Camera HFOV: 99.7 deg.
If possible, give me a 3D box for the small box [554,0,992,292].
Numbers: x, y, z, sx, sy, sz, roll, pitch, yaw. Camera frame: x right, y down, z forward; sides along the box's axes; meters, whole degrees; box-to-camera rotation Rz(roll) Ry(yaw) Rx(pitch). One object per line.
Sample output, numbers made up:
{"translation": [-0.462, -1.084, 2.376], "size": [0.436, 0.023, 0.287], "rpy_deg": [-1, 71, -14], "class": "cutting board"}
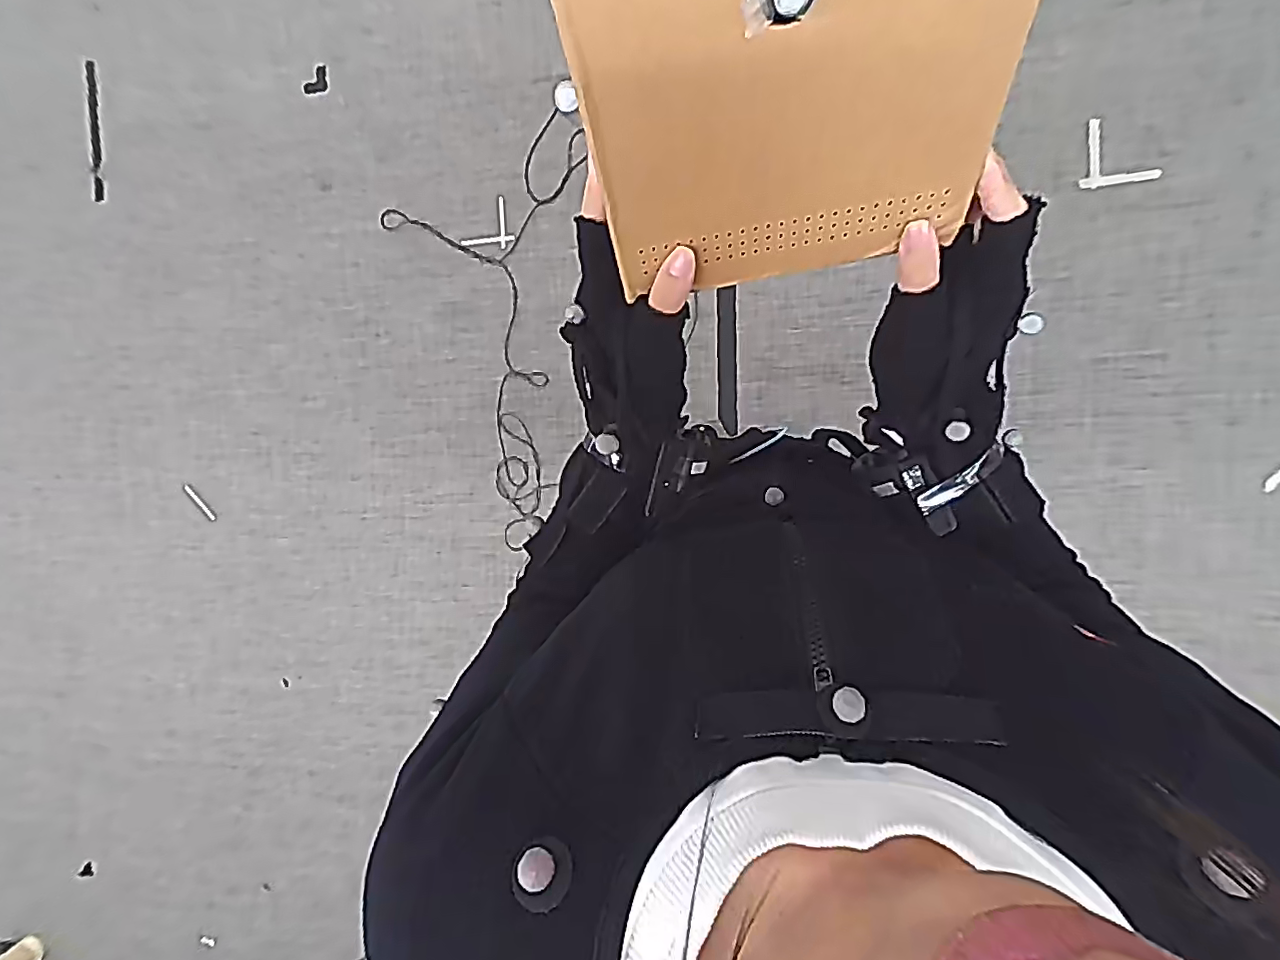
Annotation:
{"translation": [0.061, -0.223, 0.283], "size": [0.179, 0.176, 0.168], "rpy_deg": [-7, 57, 8], "class": "small box"}
